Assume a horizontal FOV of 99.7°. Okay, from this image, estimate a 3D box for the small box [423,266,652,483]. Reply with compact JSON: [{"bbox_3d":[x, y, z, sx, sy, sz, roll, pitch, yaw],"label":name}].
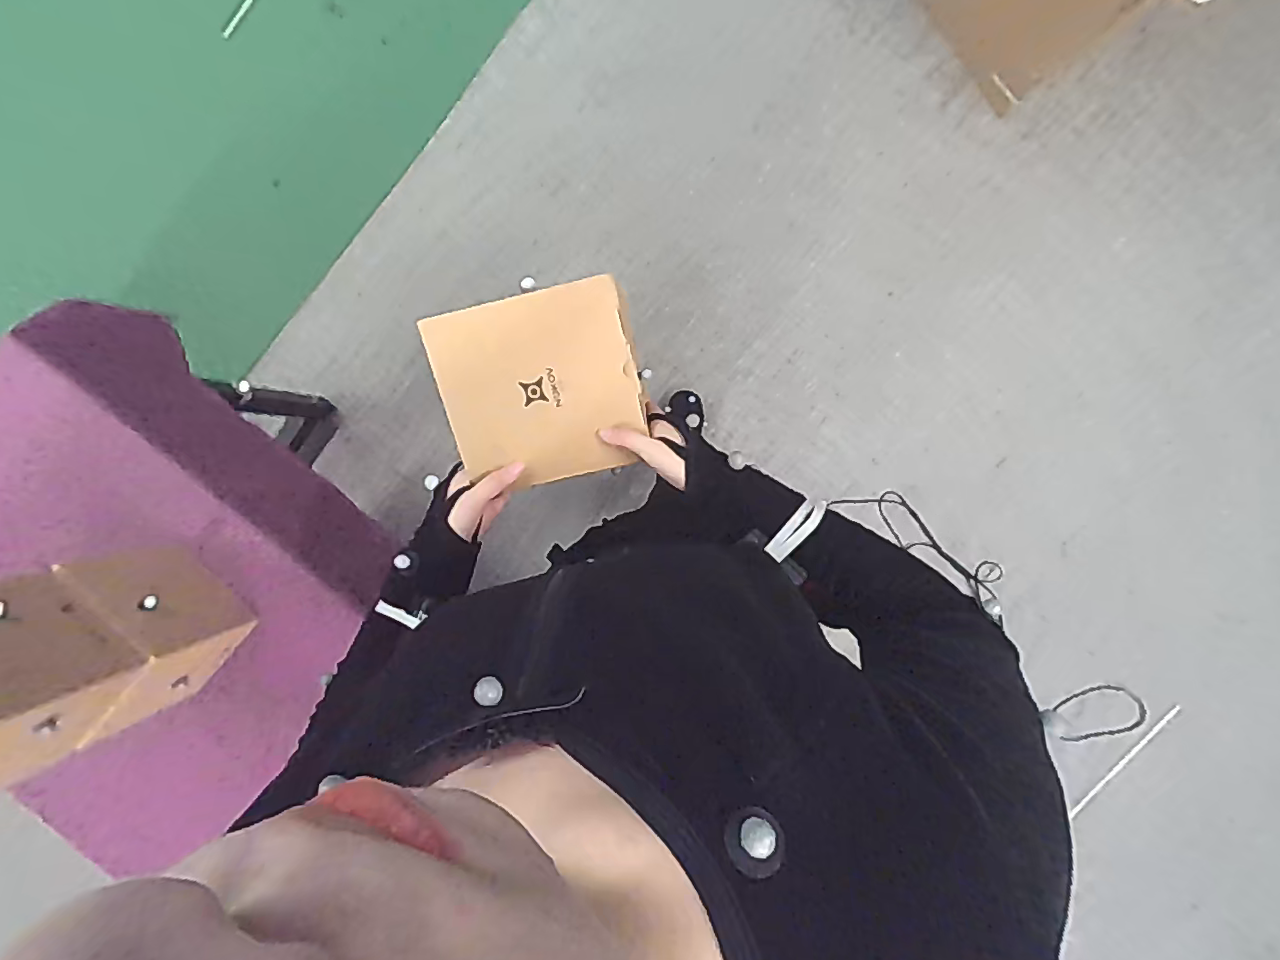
[{"bbox_3d":[-0.087,-0.108,0.559,0.179,0.176,0.168,-11,104,4],"label":"small box"}]
